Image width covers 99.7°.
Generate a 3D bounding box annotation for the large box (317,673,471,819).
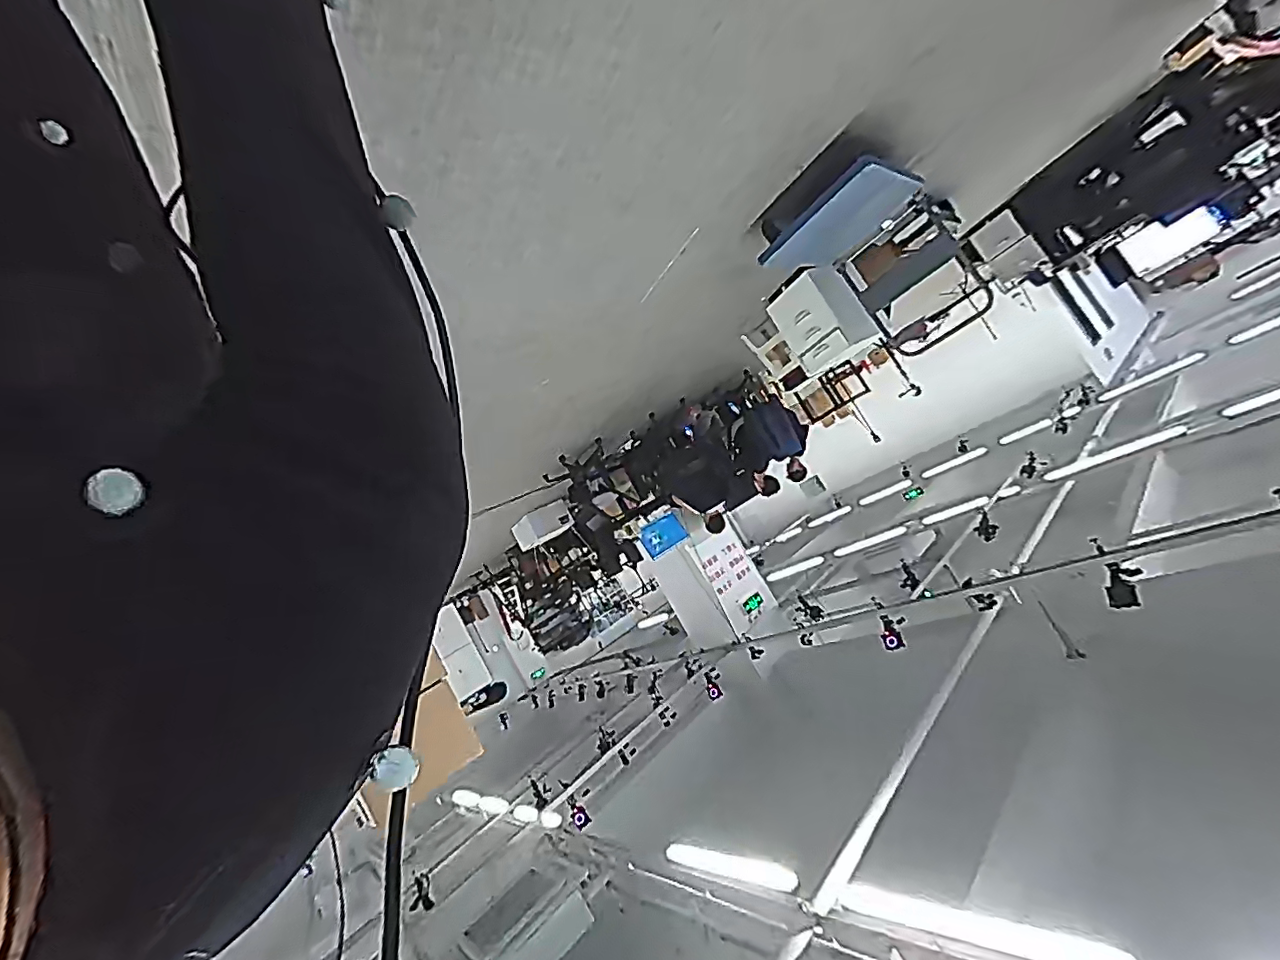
[{"bbox_3d":[-0.918,0.974,2.023,0.408,0.320,0.320,-25,172,-41],"label":"large box"}]
